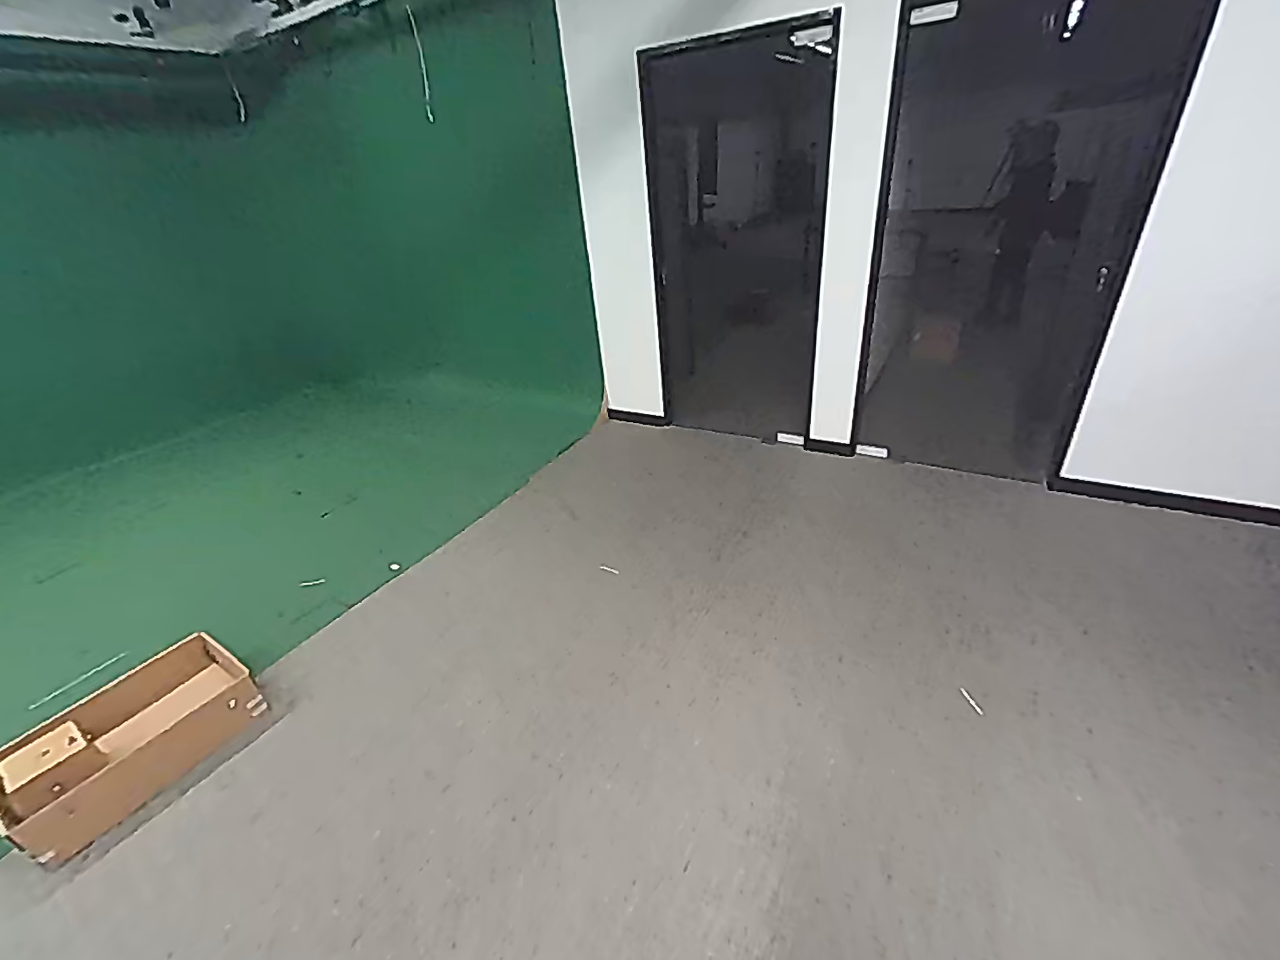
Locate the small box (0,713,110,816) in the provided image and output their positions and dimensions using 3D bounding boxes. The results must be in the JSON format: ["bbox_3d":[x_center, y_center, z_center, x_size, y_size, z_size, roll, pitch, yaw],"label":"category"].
[{"bbox_3d":[-1.744,0.843,1.601,0.168,0.176,0.179,16,37,30],"label":"small box"}]
